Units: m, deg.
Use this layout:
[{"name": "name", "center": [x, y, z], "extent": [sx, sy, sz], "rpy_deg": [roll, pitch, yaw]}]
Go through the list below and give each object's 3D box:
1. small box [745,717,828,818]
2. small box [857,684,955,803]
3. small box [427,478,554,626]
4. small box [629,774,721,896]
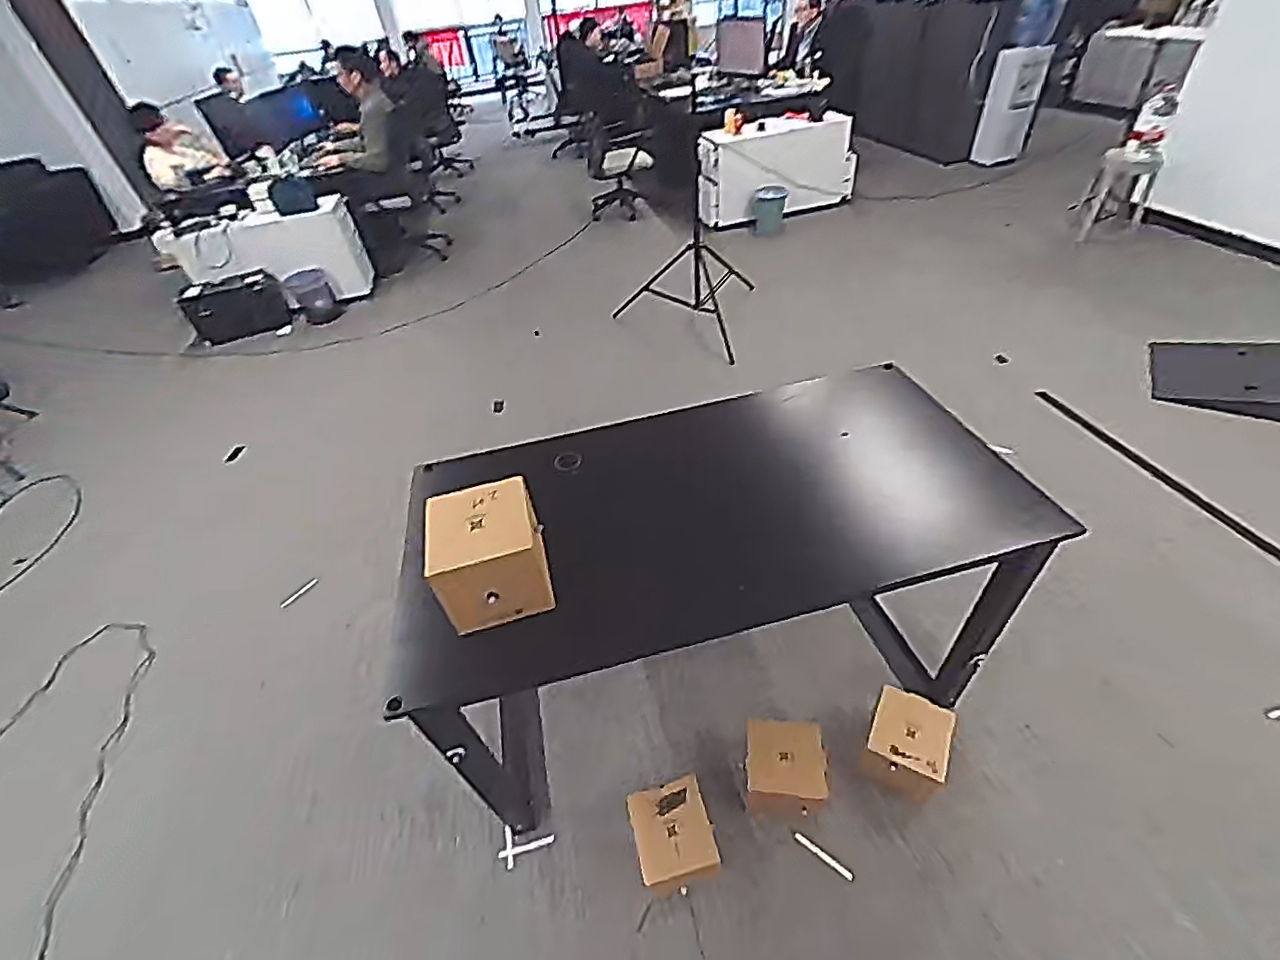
[{"name": "small box", "center": [0.347, 0.699, 1.309], "extent": [0.179, 0.176, 0.168], "rpy_deg": [0, 43, 10]}, {"name": "small box", "center": [0.645, 0.642, 1.321], "extent": [0.168, 0.176, 0.179], "rpy_deg": [18, 49, 26]}, {"name": "small box", "center": [-0.253, 0.129, 0.931], "extent": [0.168, 0.176, 0.179], "rpy_deg": [-15, 43, -8]}, {"name": "small box", "center": [0.077, 0.809, 1.231], "extent": [0.168, 0.176, 0.179], "rpy_deg": [-14, 45, -6]}]
